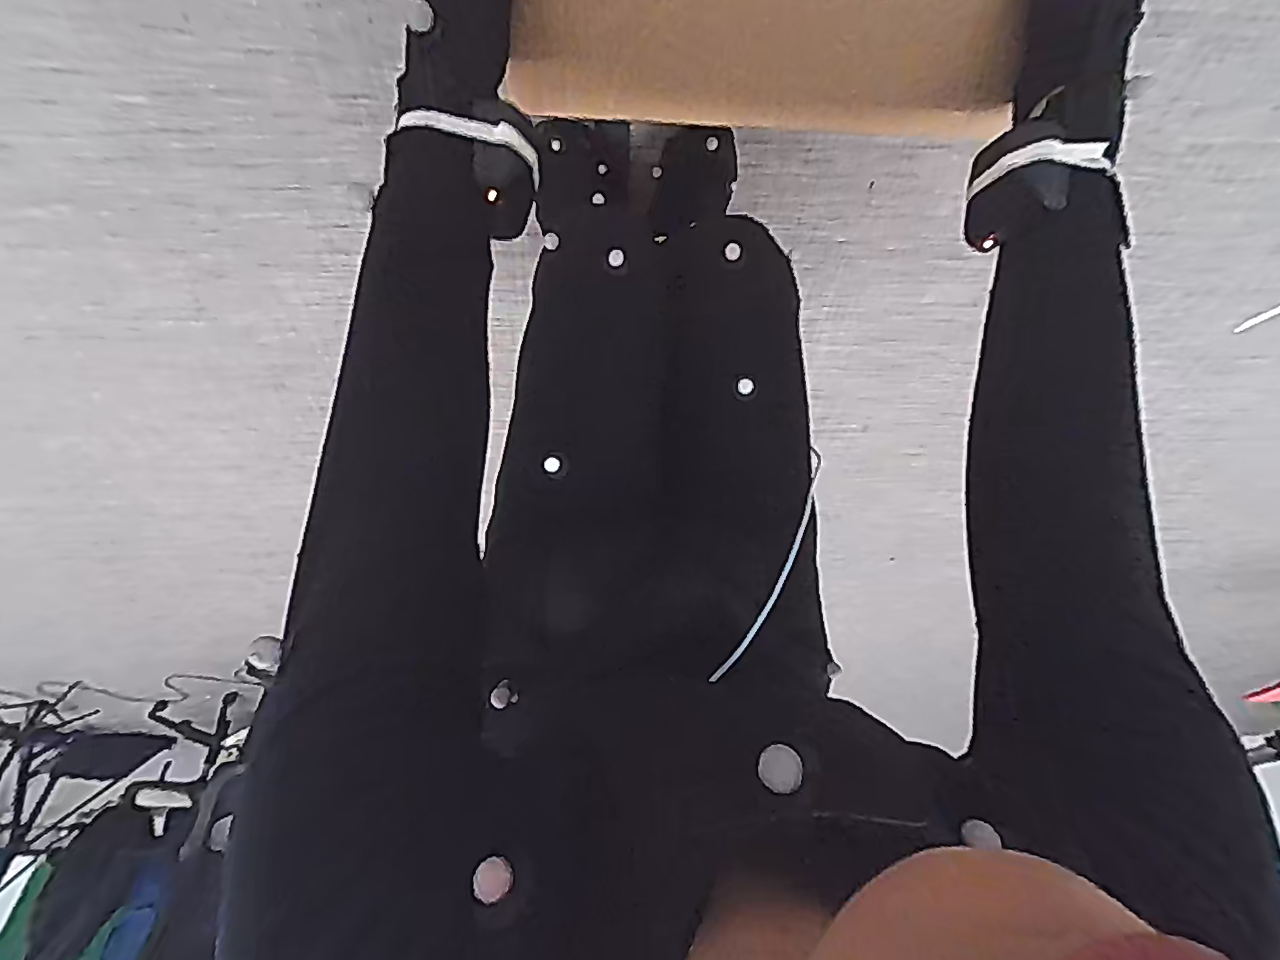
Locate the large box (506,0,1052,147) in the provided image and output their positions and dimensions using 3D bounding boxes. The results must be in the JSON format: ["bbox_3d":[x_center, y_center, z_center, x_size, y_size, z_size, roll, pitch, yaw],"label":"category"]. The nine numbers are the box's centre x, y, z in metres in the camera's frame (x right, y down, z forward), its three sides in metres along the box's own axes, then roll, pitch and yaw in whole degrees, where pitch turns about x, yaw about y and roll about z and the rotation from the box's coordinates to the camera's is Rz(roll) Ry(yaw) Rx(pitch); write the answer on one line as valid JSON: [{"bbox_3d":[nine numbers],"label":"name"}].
[{"bbox_3d":[0.100,-0.499,0.445,0.408,0.320,0.320,2,137,-3],"label":"large box"}]
